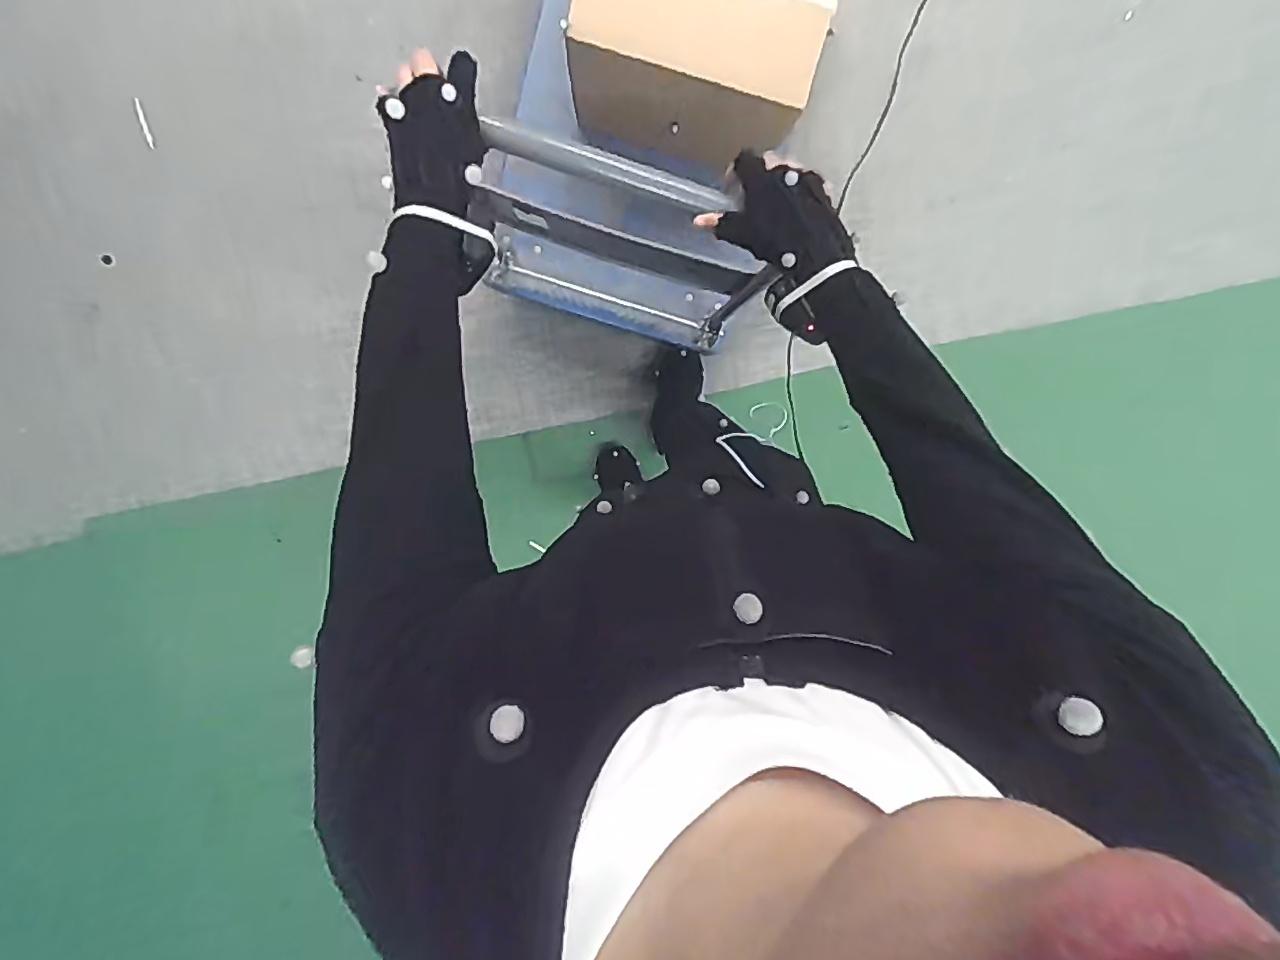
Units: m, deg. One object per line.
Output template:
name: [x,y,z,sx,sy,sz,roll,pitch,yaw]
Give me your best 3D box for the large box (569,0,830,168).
large box: [0.109,-0.832,0.996,0.408,0.320,0.320,13,99,-4]
